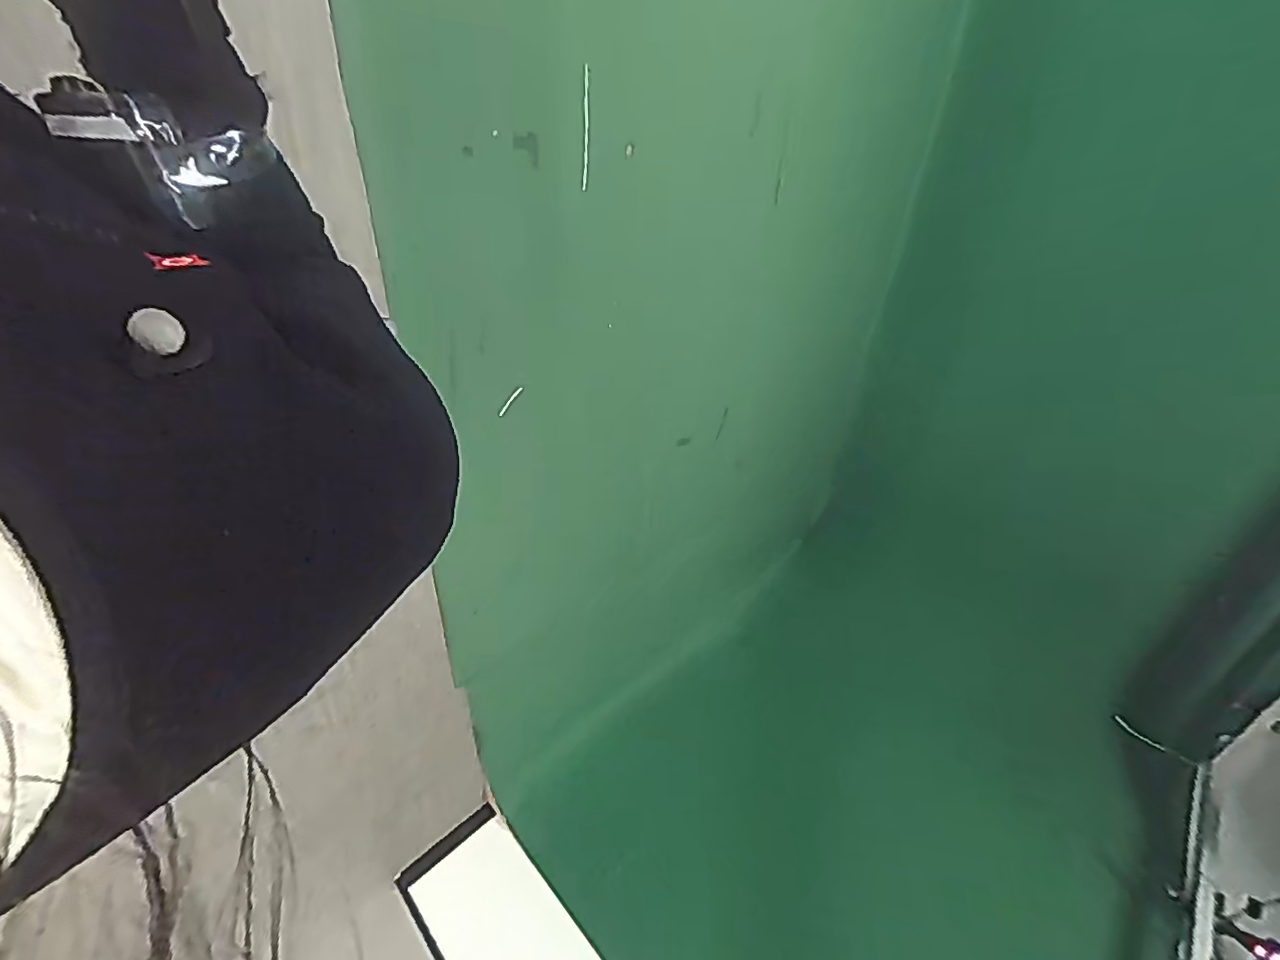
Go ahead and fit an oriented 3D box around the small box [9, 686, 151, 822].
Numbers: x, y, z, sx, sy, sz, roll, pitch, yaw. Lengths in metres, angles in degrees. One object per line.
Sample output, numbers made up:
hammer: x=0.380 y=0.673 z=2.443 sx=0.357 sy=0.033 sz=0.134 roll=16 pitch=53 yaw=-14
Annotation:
small box: x=-1.263 y=0.612 z=1.225 sx=0.179 sy=0.176 sz=0.168 roll=-26 pitch=132 yaw=-37
